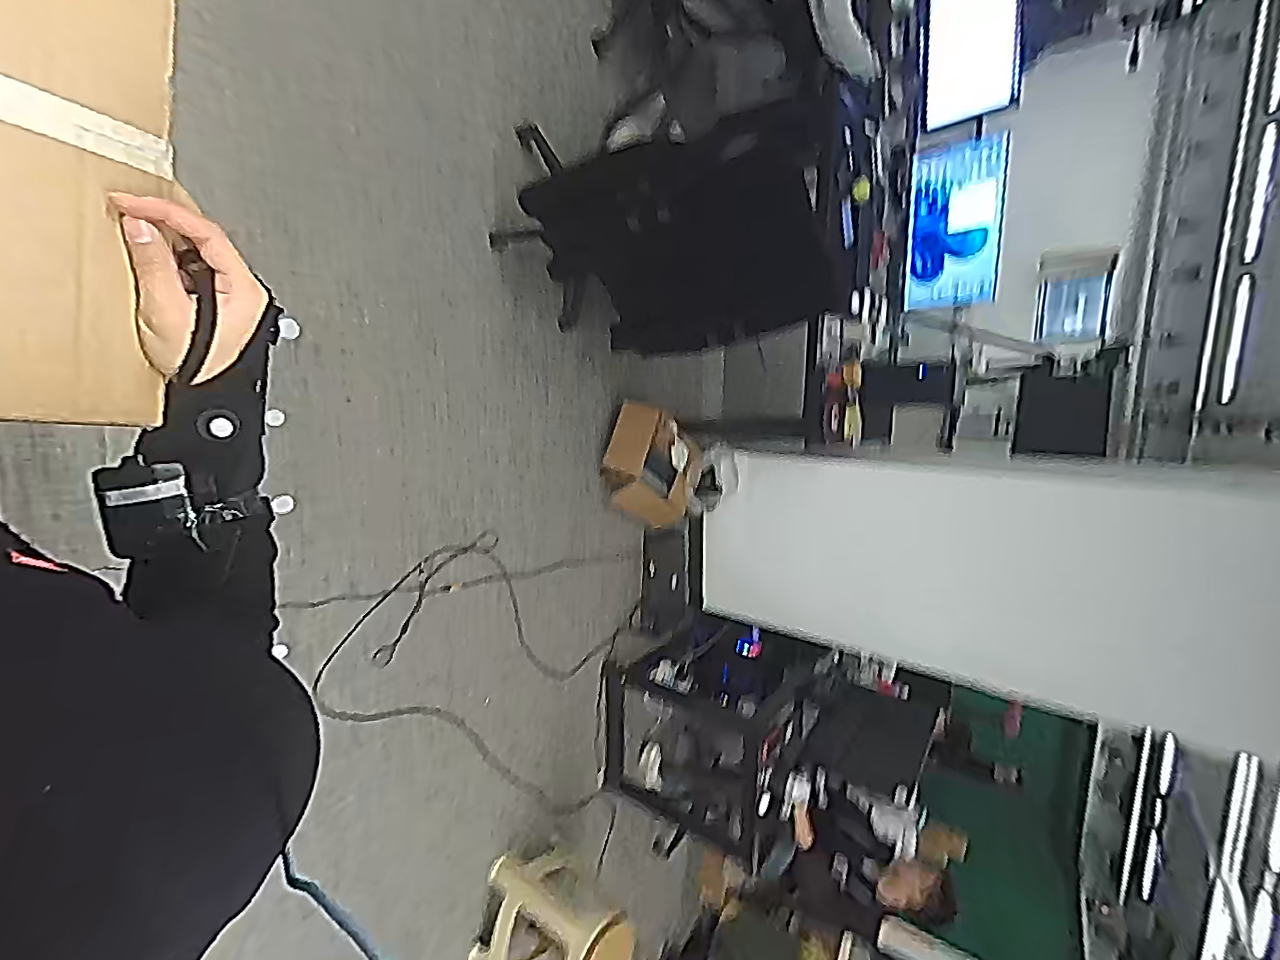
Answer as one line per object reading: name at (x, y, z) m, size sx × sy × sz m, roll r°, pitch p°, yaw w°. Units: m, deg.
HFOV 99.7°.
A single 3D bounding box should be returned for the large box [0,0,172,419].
large box at (-0.520, -0.199, 0.238) m, size 0.408 × 0.320 × 0.320 m, roll -5°, pitch 103°, yaw -58°
